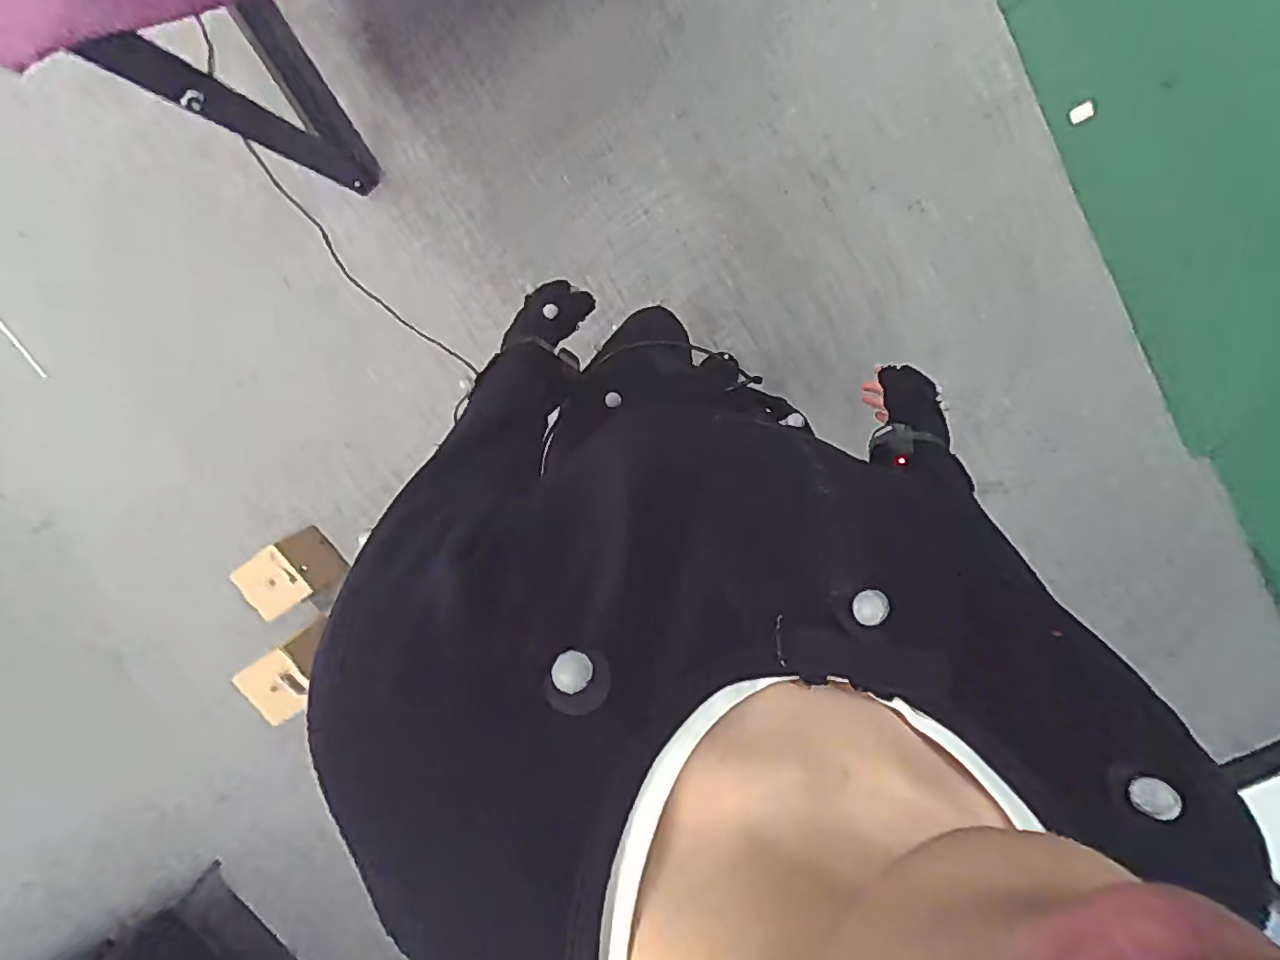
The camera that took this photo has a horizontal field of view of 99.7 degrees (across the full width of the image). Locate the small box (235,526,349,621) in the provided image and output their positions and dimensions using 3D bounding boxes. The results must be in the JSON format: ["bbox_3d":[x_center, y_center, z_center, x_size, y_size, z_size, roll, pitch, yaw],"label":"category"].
[{"bbox_3d":[-0.974,0.259,1.531,0.179,0.176,0.168,-33,100,11],"label":"small box"}]
